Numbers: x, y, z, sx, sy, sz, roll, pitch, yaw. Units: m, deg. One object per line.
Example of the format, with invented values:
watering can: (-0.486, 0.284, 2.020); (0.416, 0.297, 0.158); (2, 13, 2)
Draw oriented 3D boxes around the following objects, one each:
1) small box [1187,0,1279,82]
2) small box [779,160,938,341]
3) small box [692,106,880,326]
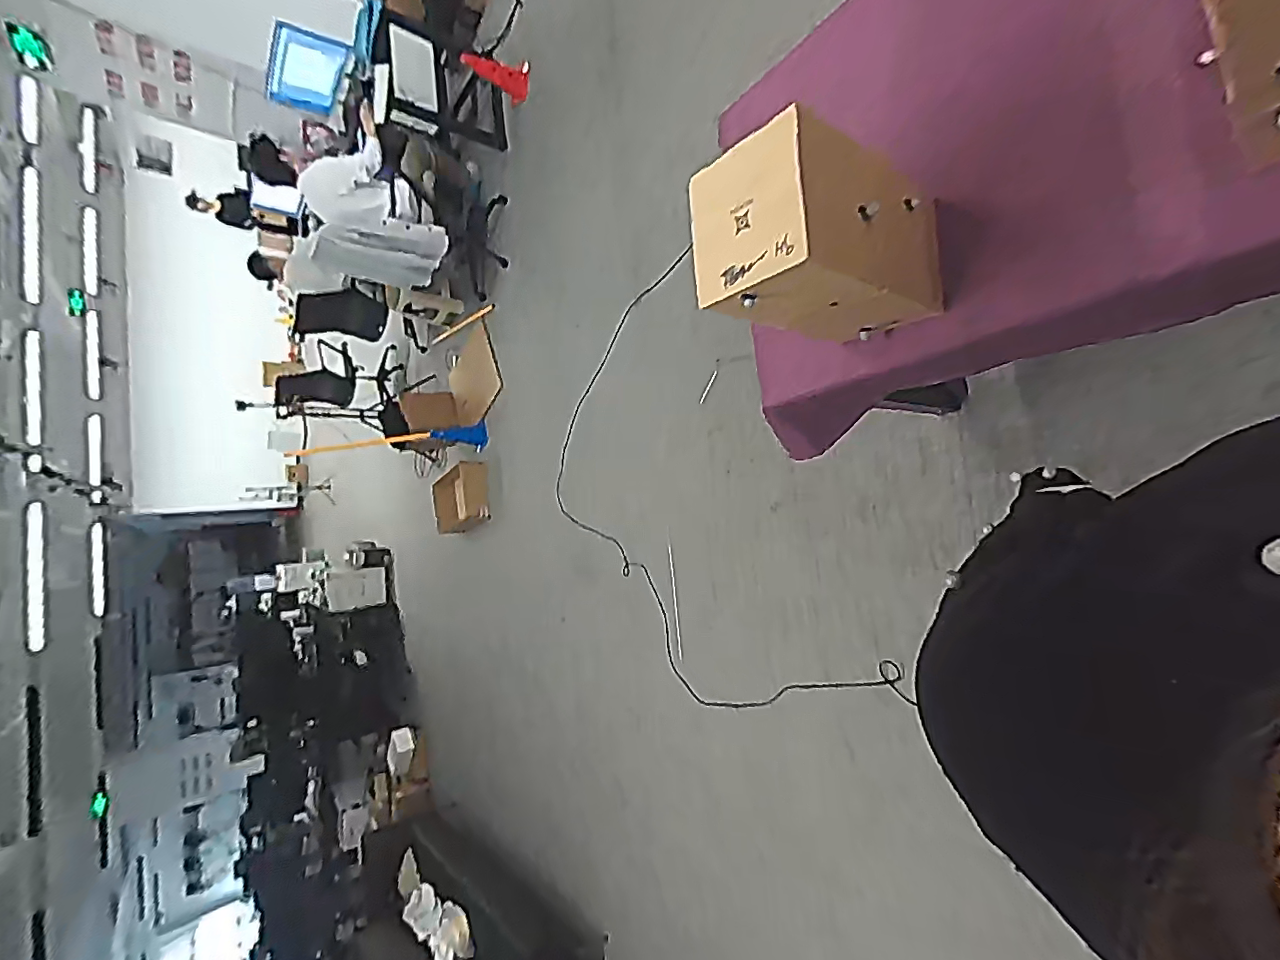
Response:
small box: (0.462, -0.405, 0.348); (0.168, 0.176, 0.179); (-16, 78, 50)
small box: (0.315, -0.320, 0.795); (0.168, 0.176, 0.179); (-7, 87, 51)
small box: (0.186, -0.316, 0.692); (0.168, 0.176, 0.179); (-7, 85, 52)
